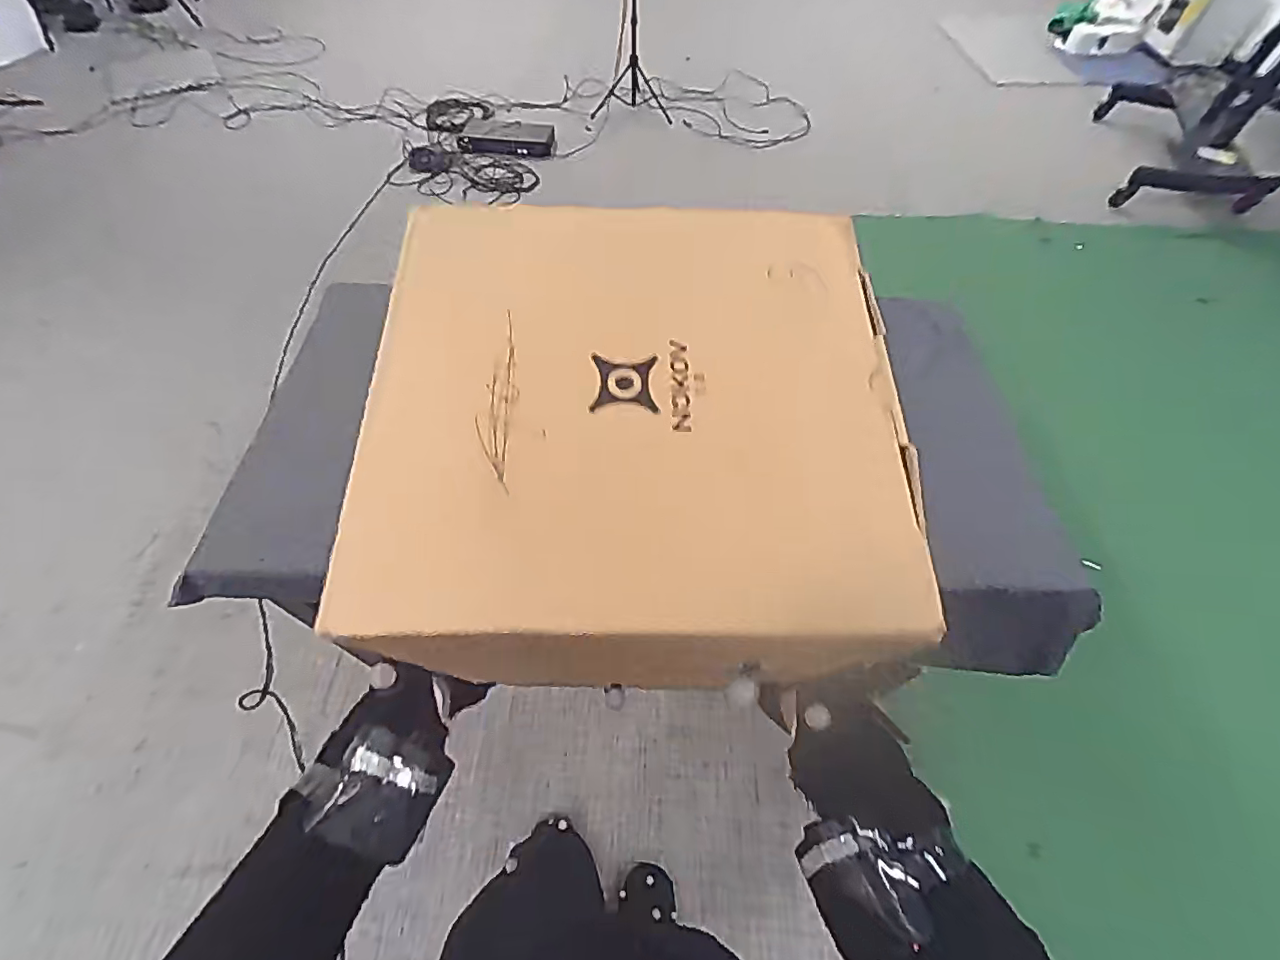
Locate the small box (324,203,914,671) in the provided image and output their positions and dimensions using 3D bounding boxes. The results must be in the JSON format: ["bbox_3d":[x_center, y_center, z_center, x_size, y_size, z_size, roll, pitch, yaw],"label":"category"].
[{"bbox_3d":[-0.007,-0.003,0.262,0.179,0.176,0.168,-1,65,-1],"label":"small box"}]
